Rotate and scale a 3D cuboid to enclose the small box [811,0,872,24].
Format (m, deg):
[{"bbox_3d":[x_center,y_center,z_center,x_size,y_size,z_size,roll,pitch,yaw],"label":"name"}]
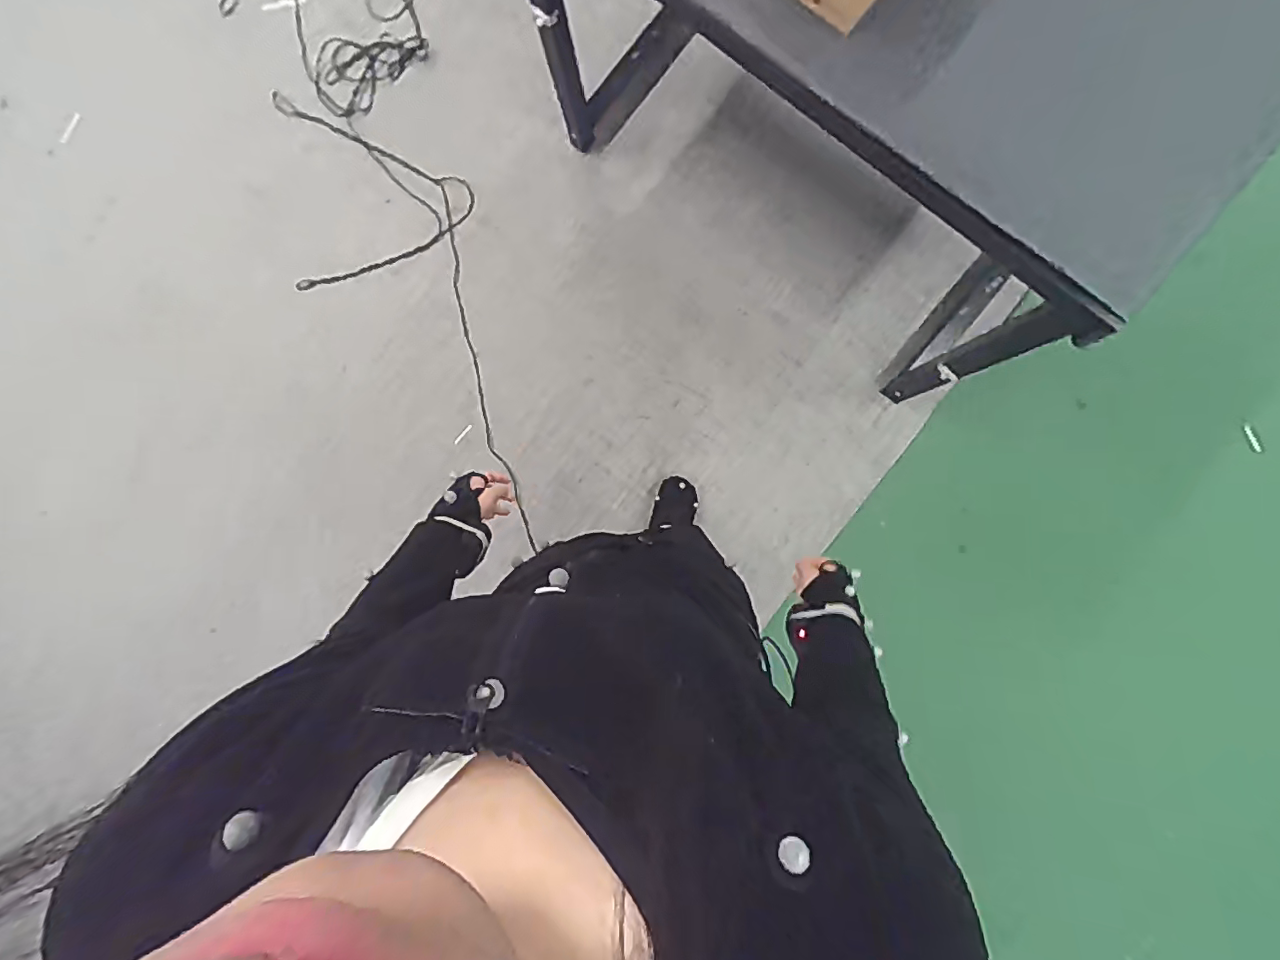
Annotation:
[{"bbox_3d":[0.285,-0.755,0.685,0.168,0.176,0.179,40,91,4],"label":"small box"}]
